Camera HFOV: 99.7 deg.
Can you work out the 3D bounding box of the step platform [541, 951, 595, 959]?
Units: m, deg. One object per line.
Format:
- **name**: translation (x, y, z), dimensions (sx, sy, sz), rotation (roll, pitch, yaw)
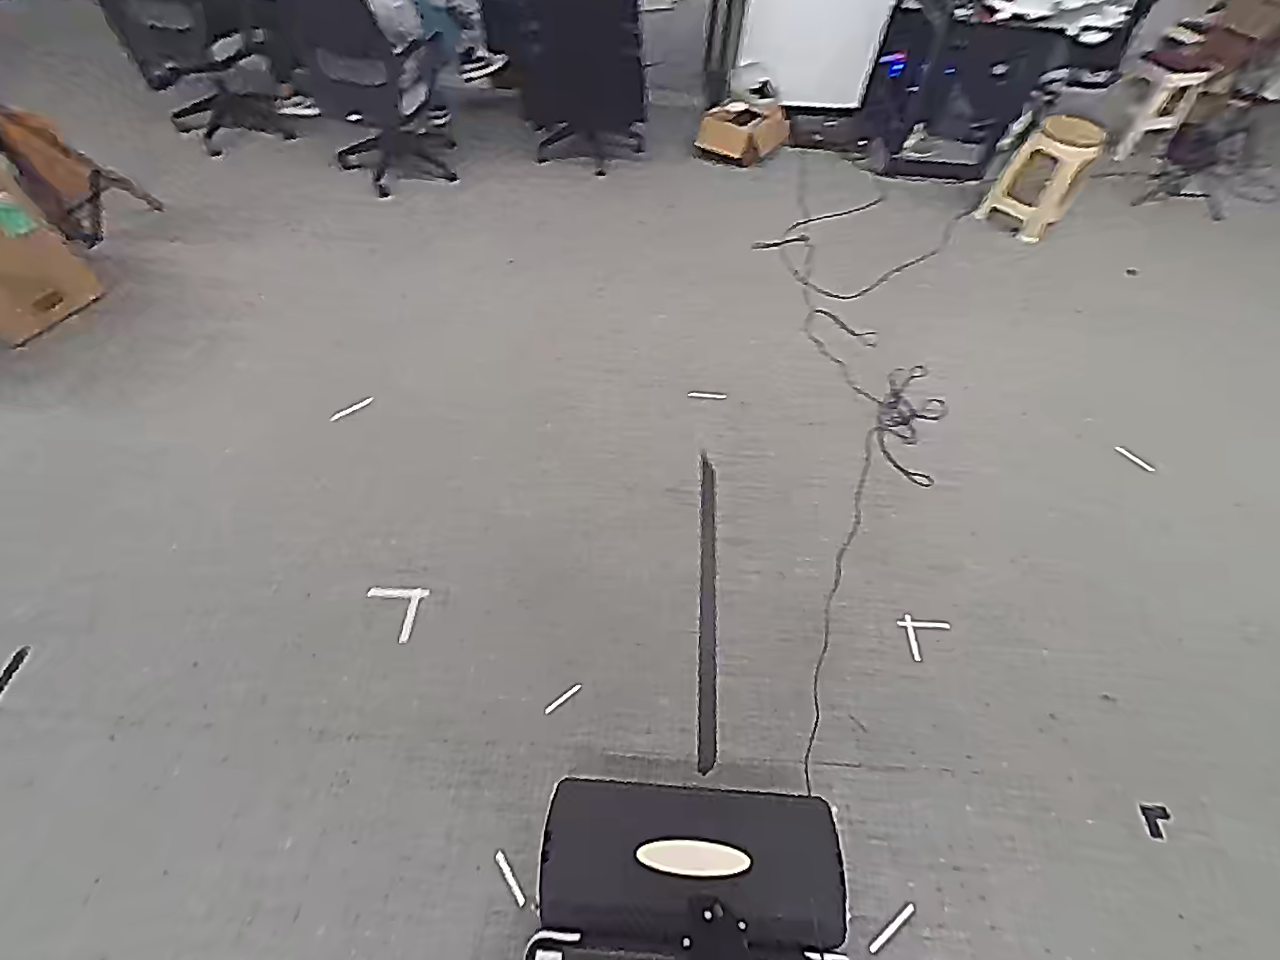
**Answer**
- **step platform**: translation (0.107, 1.094, 0.980), dimensions (0.684, 0.204, 0.286), rotation (7, 53, 4)
